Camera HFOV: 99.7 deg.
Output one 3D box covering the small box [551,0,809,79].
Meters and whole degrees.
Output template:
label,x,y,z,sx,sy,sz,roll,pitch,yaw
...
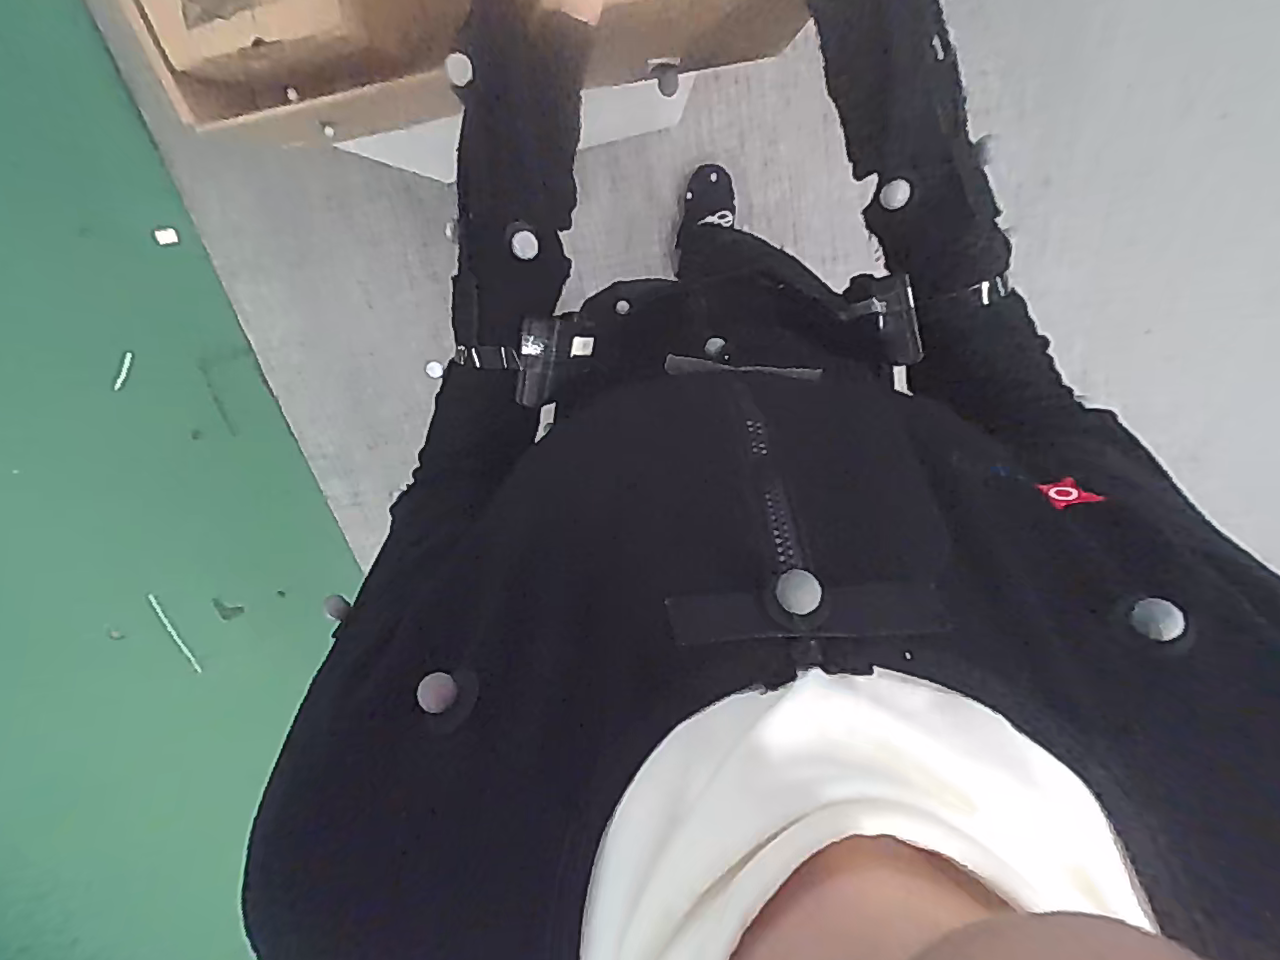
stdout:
label,x,y,z,sx,sy,sz,roll,pitch,yaw
small box,0.017,-0.370,0.312,0.168,0.176,0.179,-8,114,3
